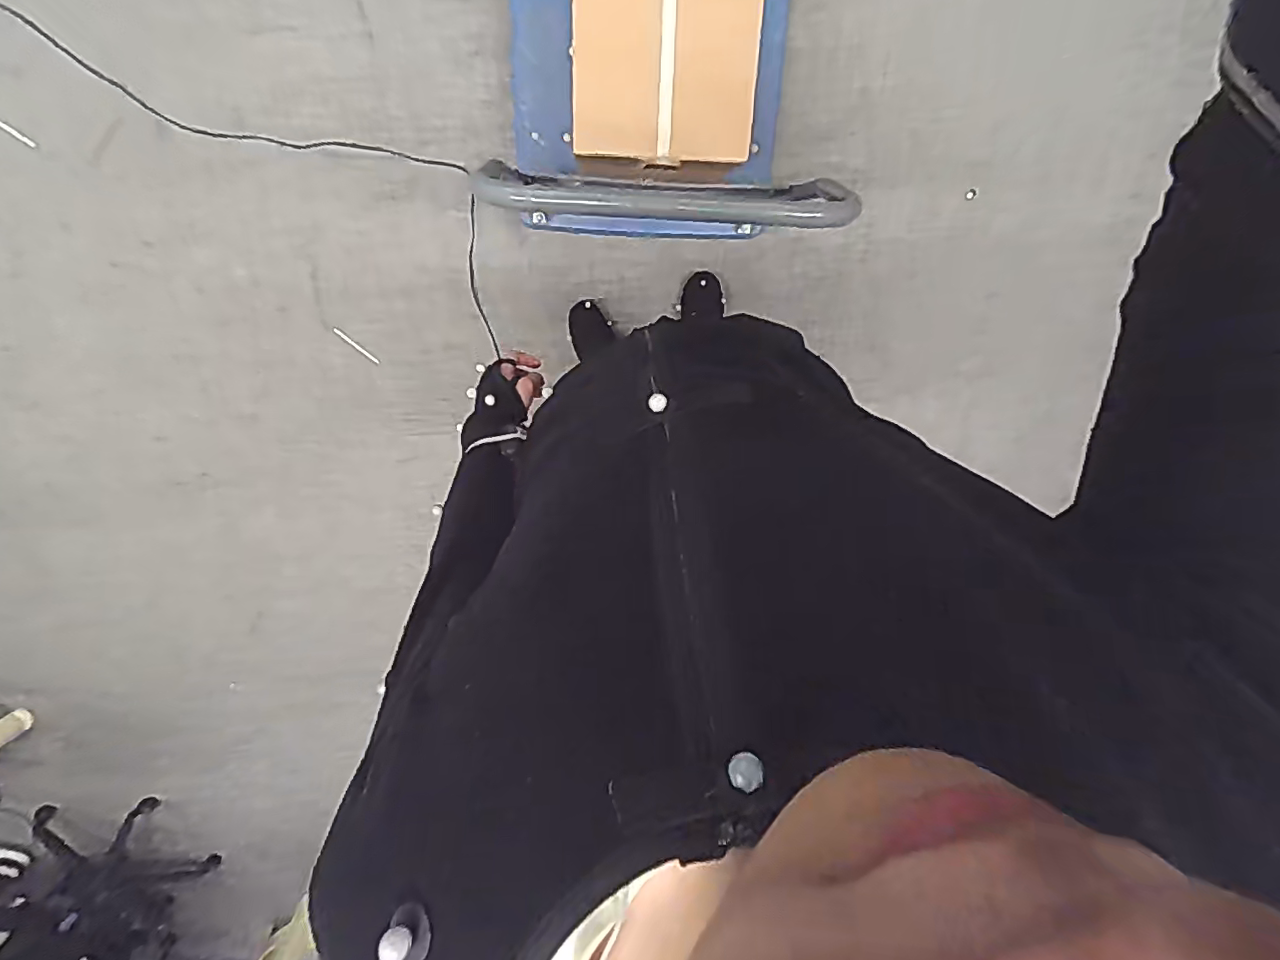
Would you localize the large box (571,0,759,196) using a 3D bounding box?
[{"bbox_3d":[0.037,-0.794,1.040,0.320,0.320,0.408,1,109,-4],"label":"large box"}]
